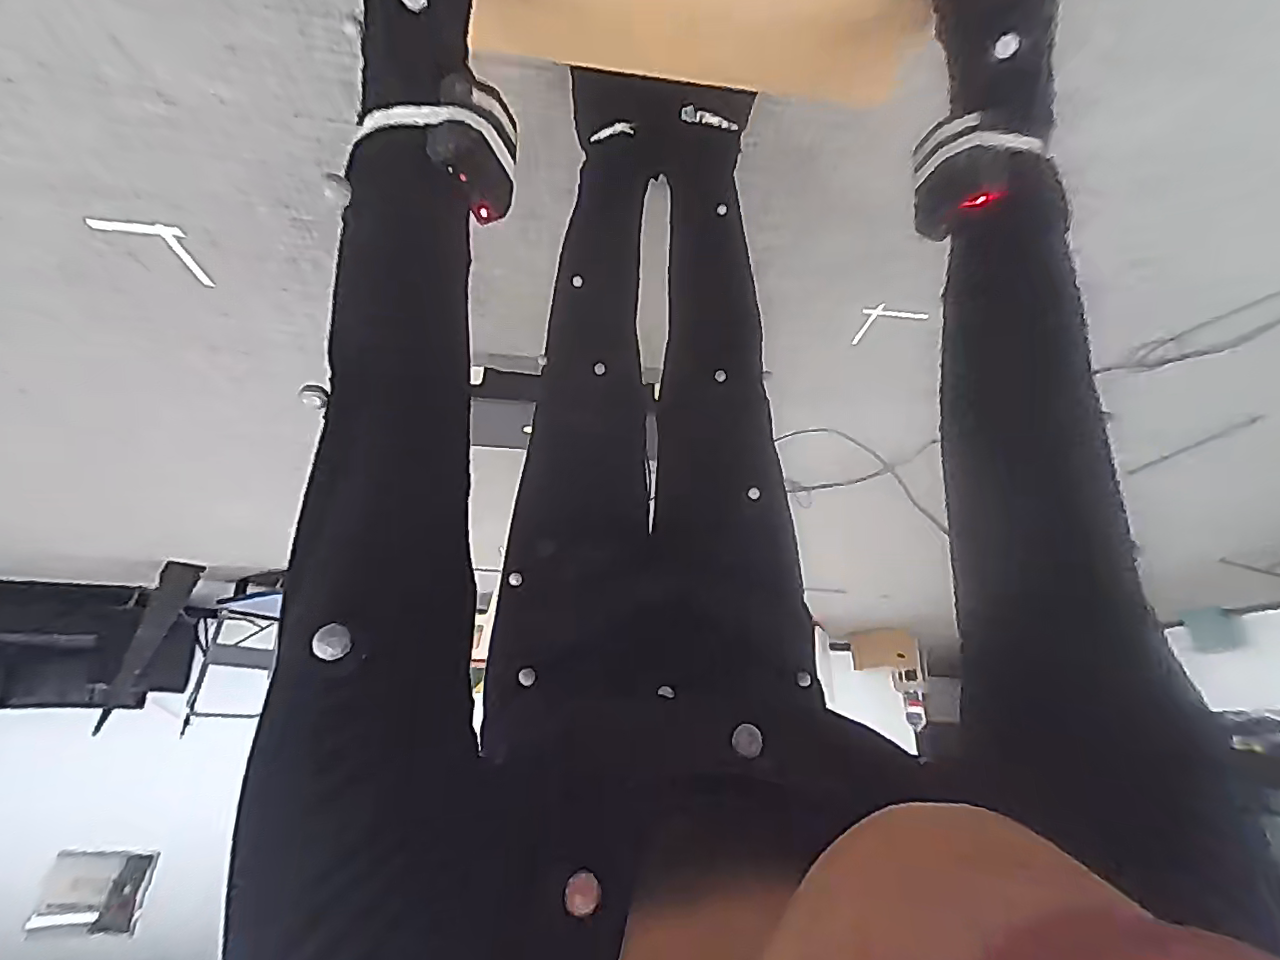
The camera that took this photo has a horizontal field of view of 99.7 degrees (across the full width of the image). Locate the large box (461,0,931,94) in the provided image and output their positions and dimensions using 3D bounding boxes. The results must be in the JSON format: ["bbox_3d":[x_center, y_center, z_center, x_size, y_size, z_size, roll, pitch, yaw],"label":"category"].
[{"bbox_3d":[0.056,-0.580,0.432,0.408,0.320,0.320,3,155,-5],"label":"large box"}]
